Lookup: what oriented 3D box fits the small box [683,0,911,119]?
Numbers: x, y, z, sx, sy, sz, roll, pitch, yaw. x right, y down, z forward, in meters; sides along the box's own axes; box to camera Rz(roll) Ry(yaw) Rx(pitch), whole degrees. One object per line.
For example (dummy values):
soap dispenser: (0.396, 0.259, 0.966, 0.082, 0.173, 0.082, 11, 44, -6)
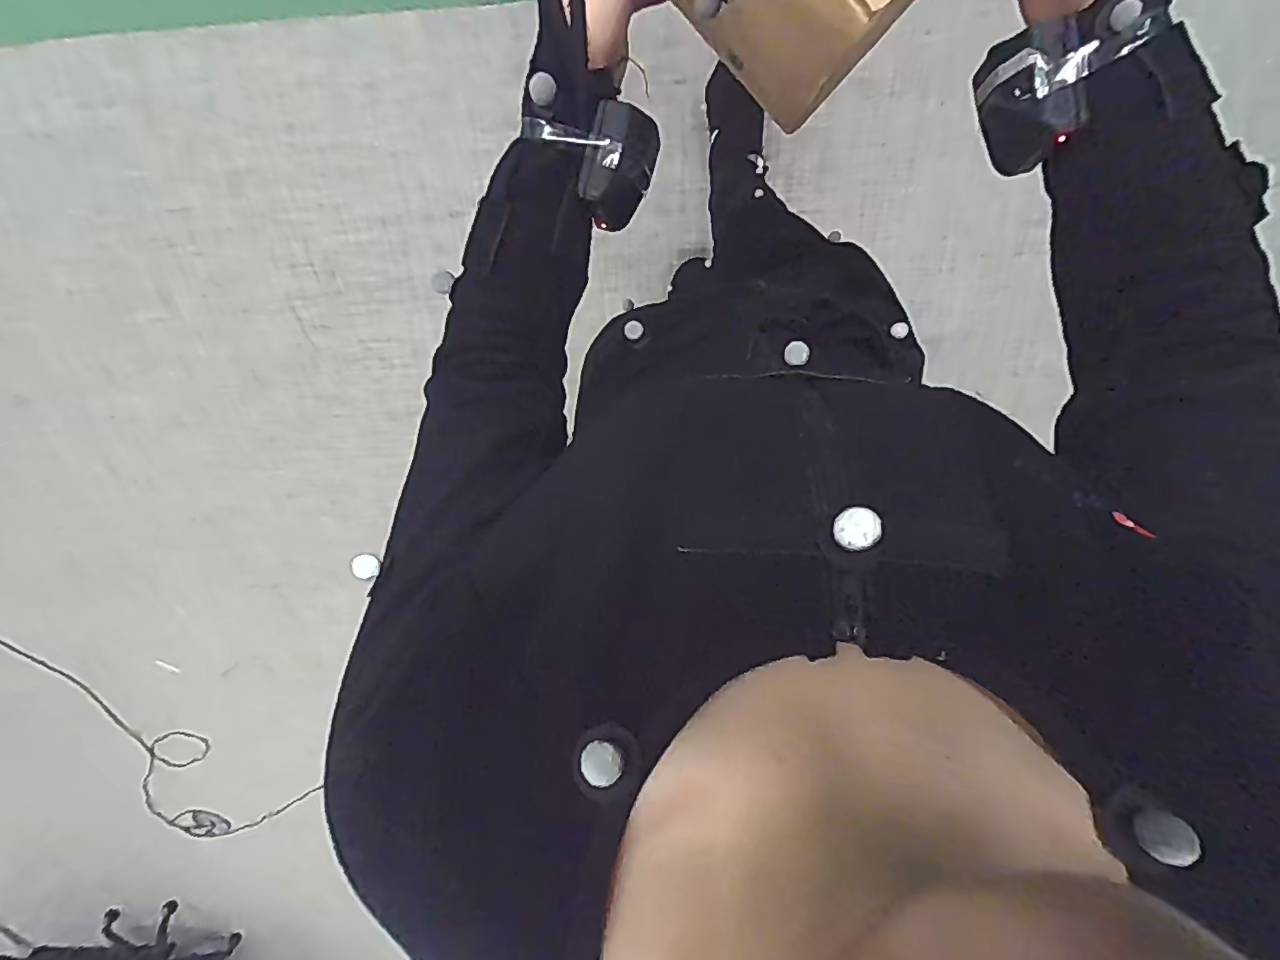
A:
small box: (0.104, -0.342, 0.287, 0.168, 0.176, 0.179, 42, 106, -10)
